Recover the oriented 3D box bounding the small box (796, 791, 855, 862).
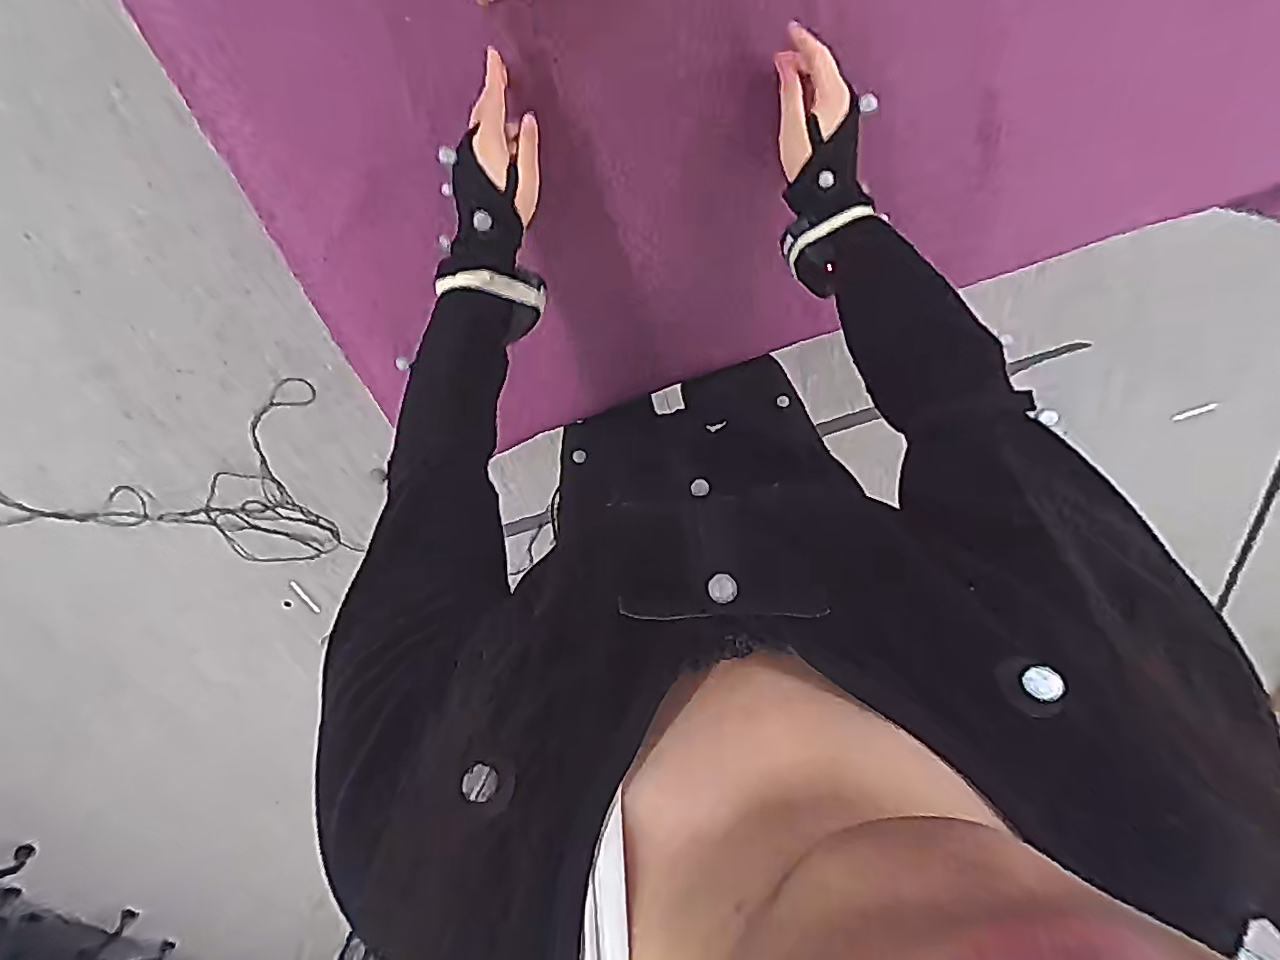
[{"bbox_3d":[0.745,1.381,2.162,0.179,0.176,0.168,-19,122,4],"label":"small box"}]
